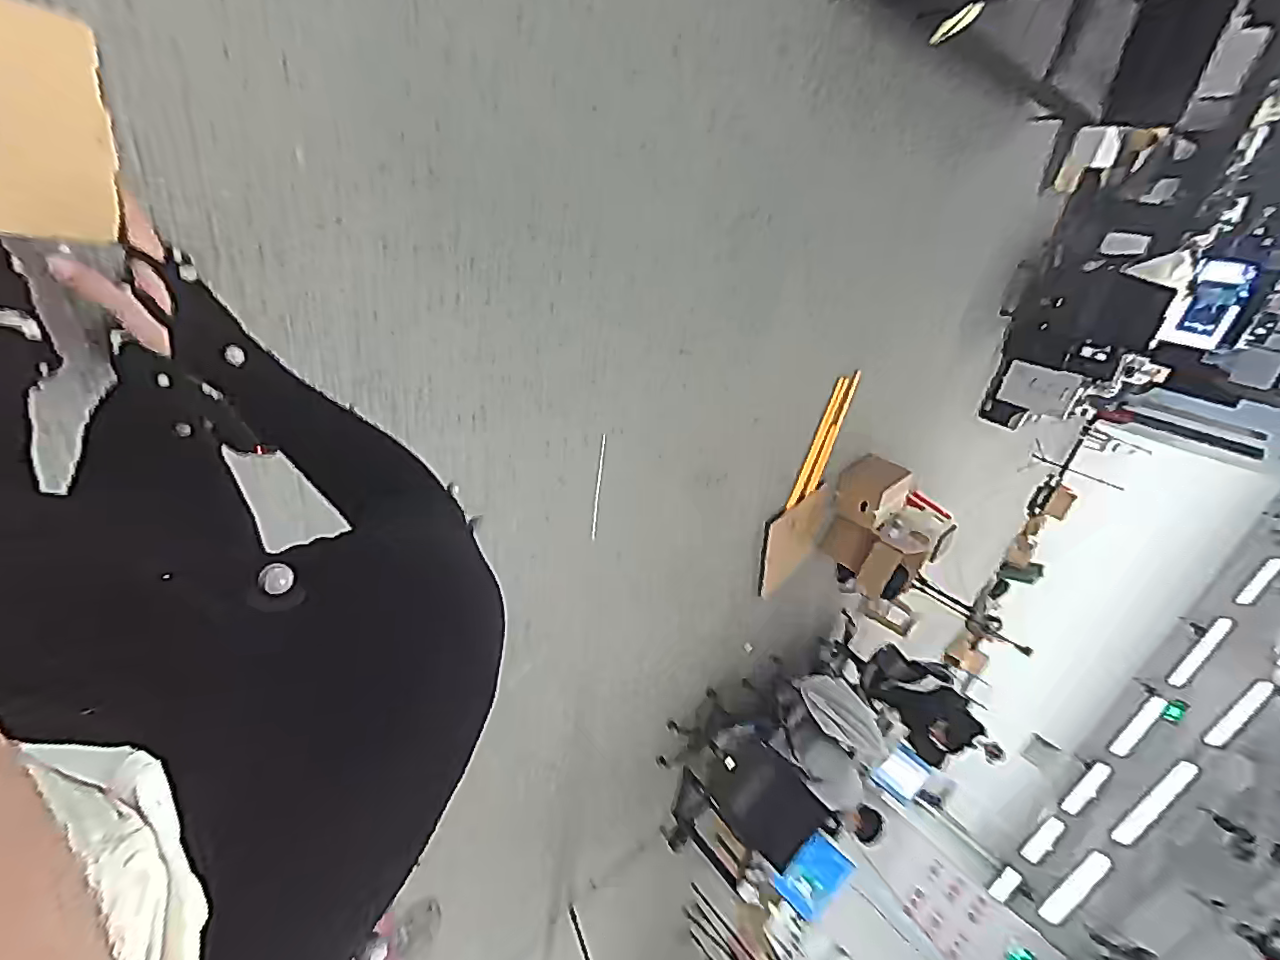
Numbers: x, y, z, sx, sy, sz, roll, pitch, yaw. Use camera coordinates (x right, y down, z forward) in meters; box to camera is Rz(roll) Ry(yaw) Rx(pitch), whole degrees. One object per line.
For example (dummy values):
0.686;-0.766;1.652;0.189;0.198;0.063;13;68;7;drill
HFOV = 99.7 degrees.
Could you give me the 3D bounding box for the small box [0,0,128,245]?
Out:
-0.551;-0.292;0.427;0.179;0.176;0.168;-16;123;-49;small box
